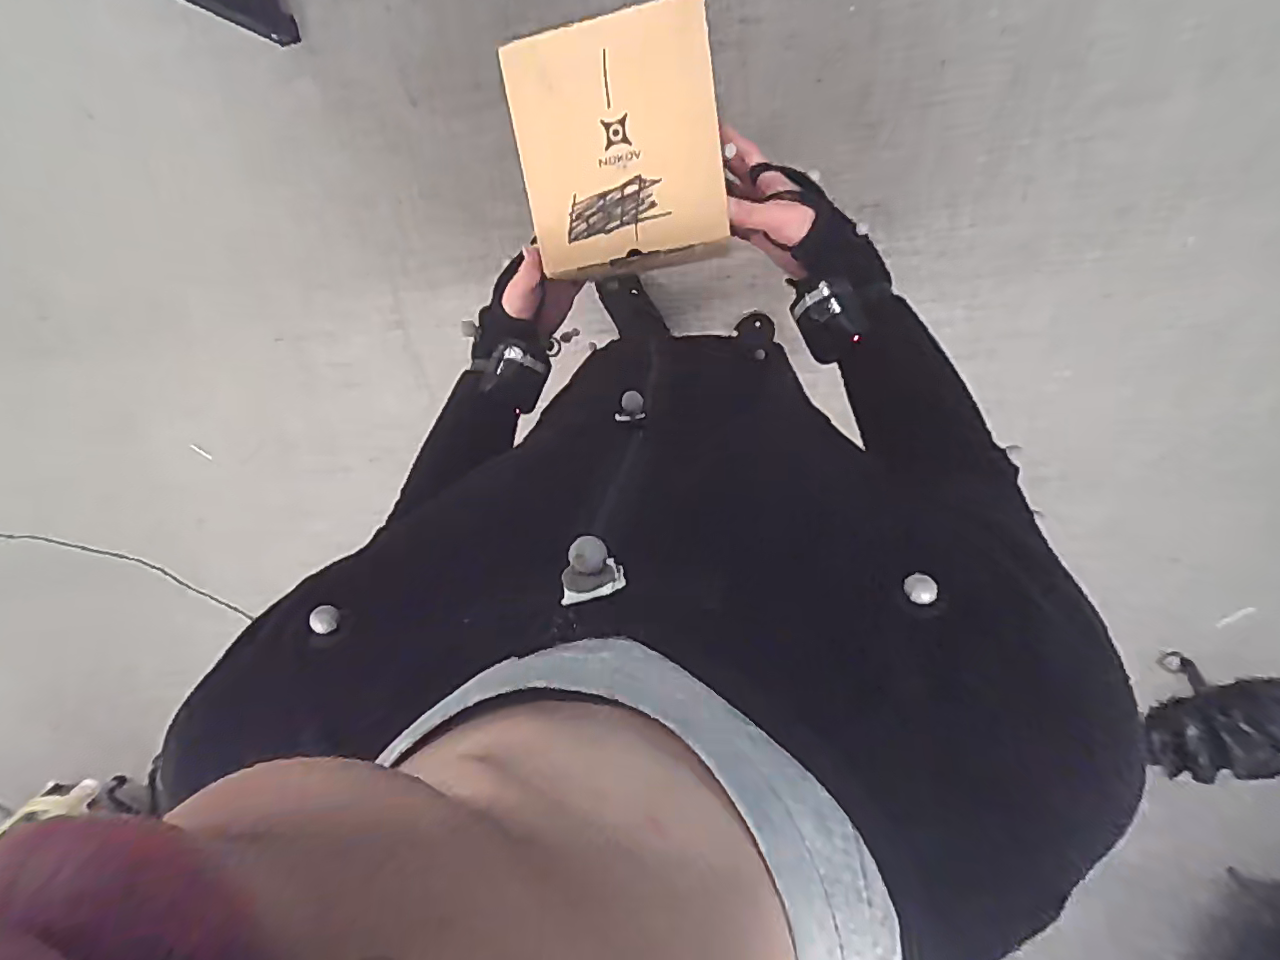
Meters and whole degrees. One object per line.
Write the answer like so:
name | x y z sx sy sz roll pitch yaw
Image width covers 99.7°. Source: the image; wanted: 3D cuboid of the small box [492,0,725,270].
small box | -0.011 -0.301 0.505 0.168 0.176 0.179 -6 108 11
